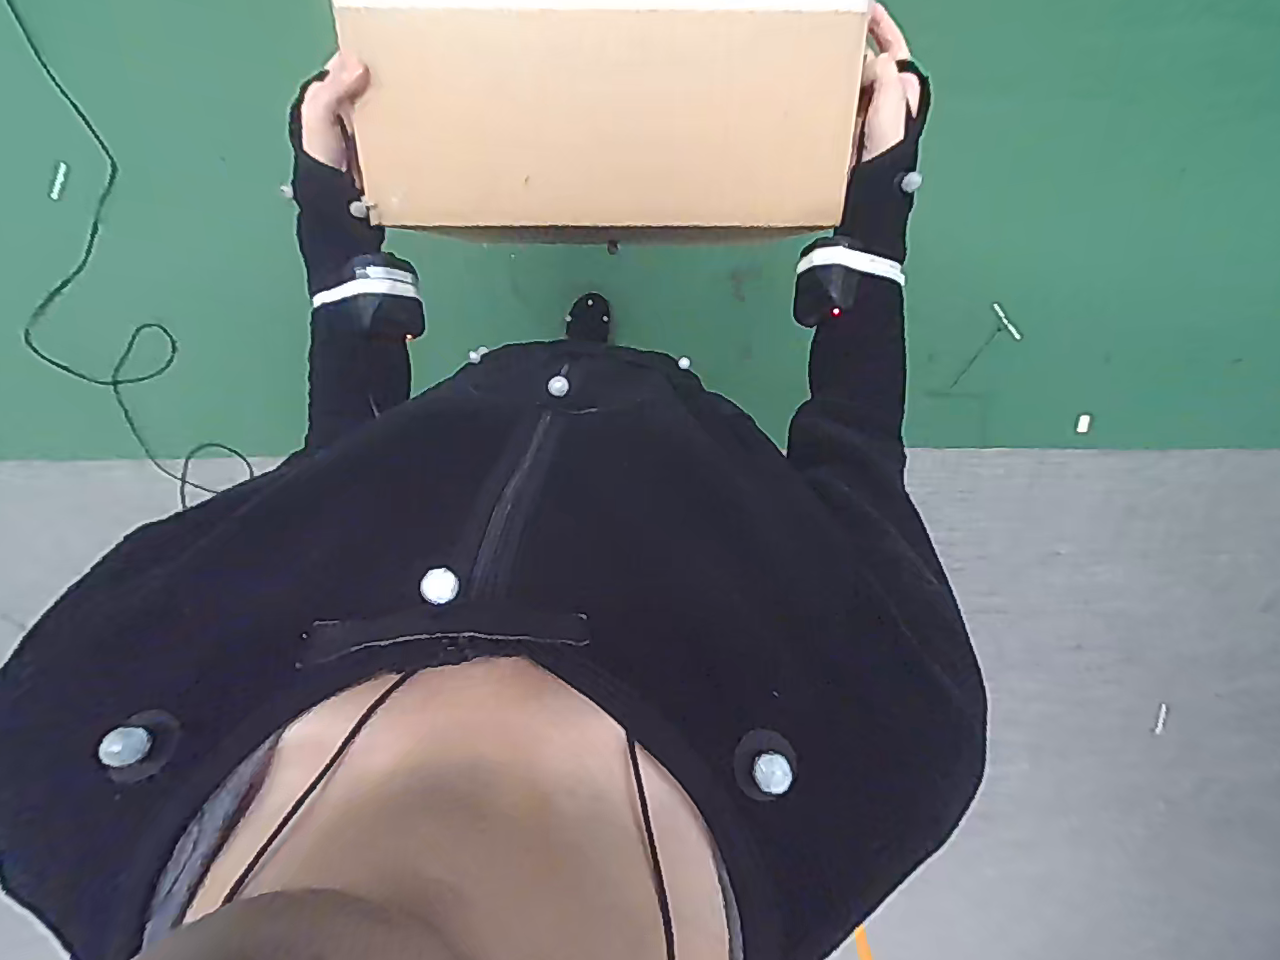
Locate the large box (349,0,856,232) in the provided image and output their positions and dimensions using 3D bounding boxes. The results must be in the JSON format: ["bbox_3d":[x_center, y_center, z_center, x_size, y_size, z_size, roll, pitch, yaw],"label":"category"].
[{"bbox_3d":[-0.028,-0.431,0.557,0.408,0.320,0.320,0,111,-1],"label":"large box"}]
